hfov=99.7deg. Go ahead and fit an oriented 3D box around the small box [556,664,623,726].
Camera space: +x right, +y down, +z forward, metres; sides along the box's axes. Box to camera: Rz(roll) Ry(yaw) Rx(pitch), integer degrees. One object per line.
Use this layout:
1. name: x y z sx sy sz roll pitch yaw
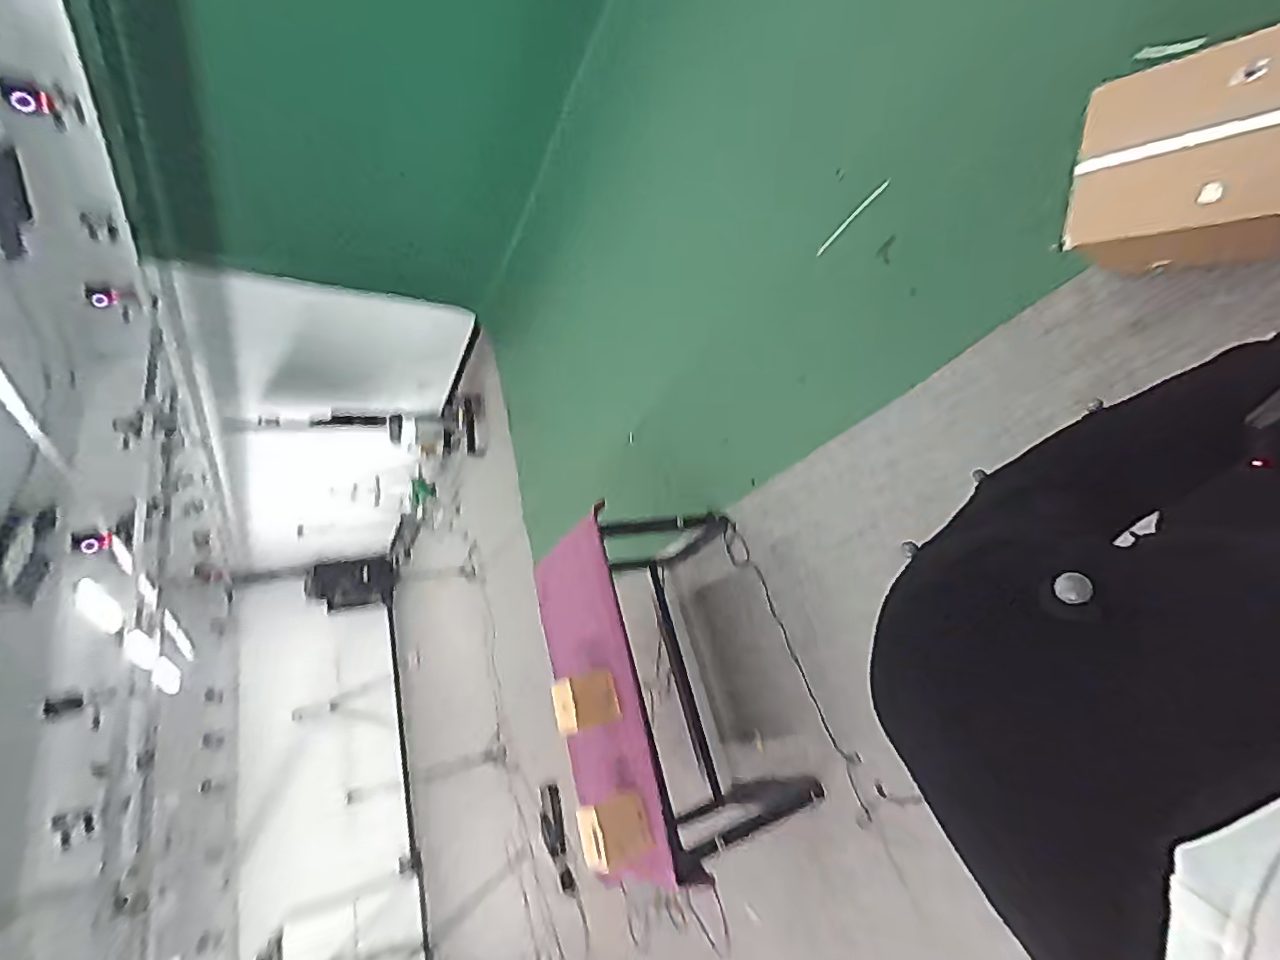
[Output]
1. small box: -0.180 0.764 1.920 0.179 0.176 0.168 -41 58 50
